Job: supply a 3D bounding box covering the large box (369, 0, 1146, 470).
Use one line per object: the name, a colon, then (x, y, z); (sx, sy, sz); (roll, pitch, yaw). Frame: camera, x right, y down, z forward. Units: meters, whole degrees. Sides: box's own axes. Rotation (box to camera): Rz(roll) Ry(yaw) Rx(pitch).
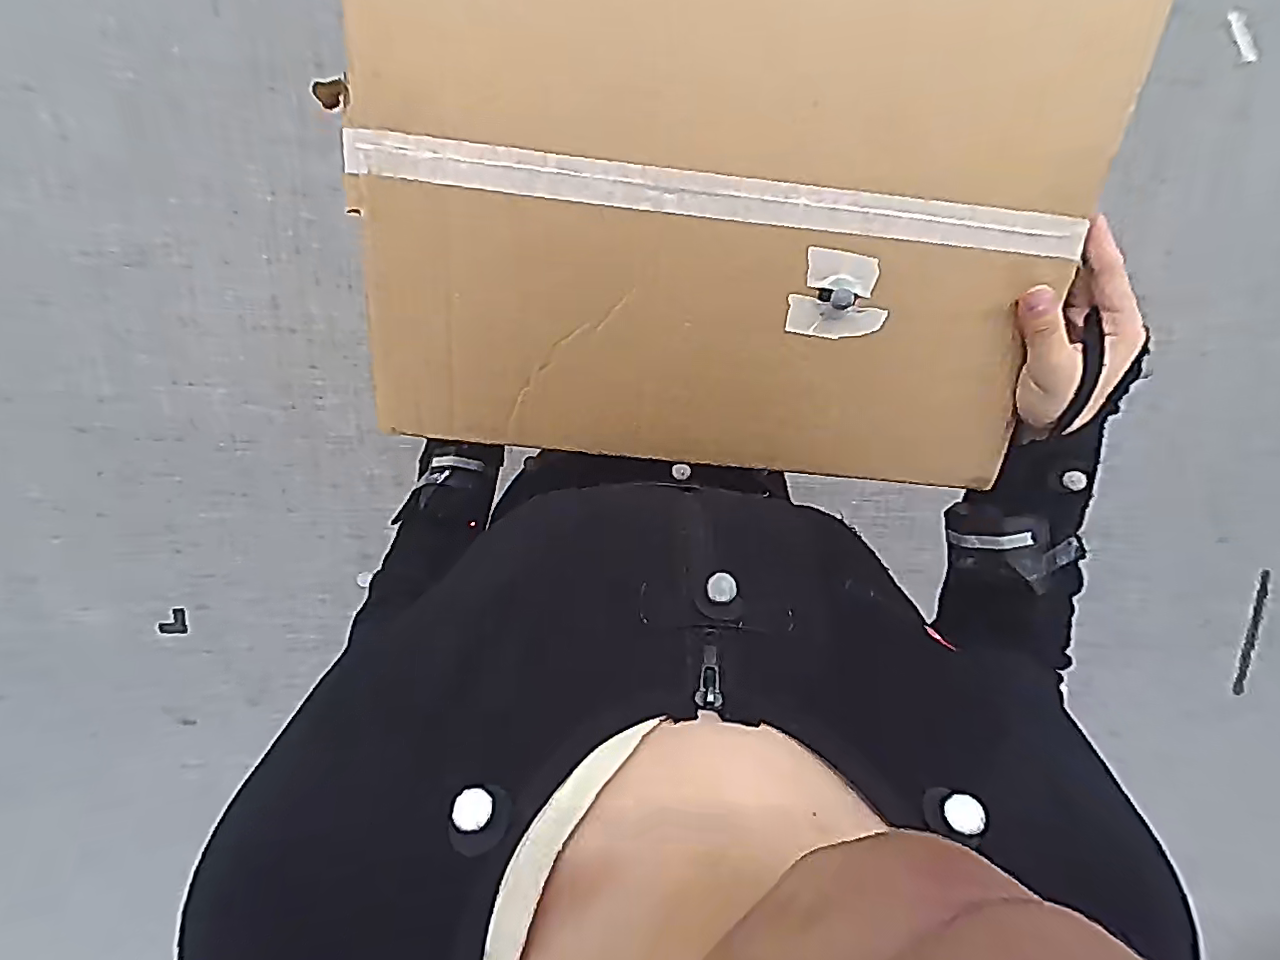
large box: (0.048, -0.213, 0.445); (0.408, 0.320, 0.320); (4, 112, -5)
